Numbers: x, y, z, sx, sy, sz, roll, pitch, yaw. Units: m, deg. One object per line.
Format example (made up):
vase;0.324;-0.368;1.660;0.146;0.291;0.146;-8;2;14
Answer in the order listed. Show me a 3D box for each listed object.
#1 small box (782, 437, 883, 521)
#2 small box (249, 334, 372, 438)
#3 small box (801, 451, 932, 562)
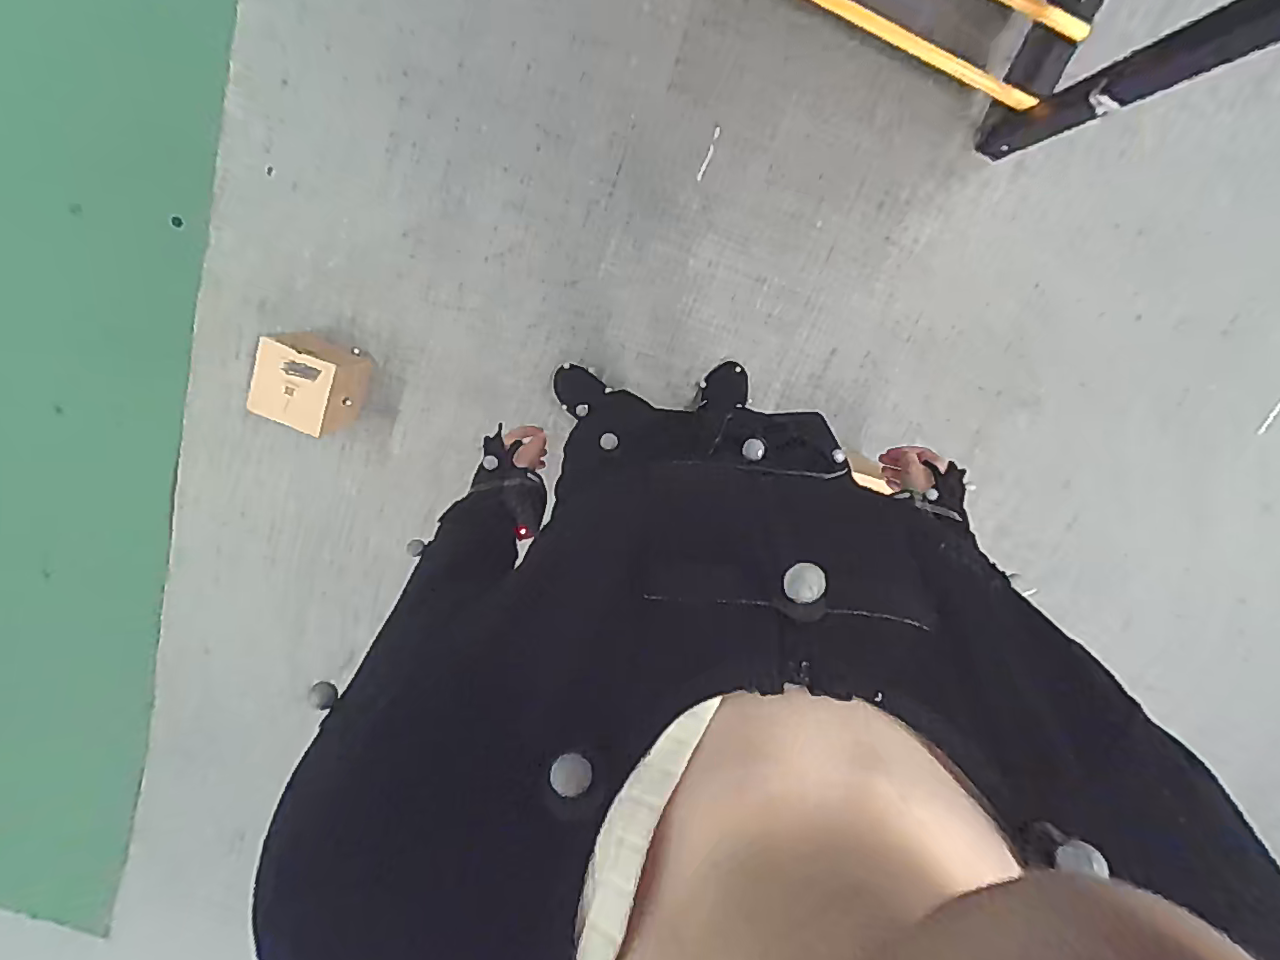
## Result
small box;0.461;0.008;1.310;0.168;0.176;0.179;16;106;-4
small box;-0.747;-0.223;1.243;0.168;0.176;0.179;23;107;-6
small box;0.470;0.049;1.152;0.179;0.176;0.168;15;106;-4
